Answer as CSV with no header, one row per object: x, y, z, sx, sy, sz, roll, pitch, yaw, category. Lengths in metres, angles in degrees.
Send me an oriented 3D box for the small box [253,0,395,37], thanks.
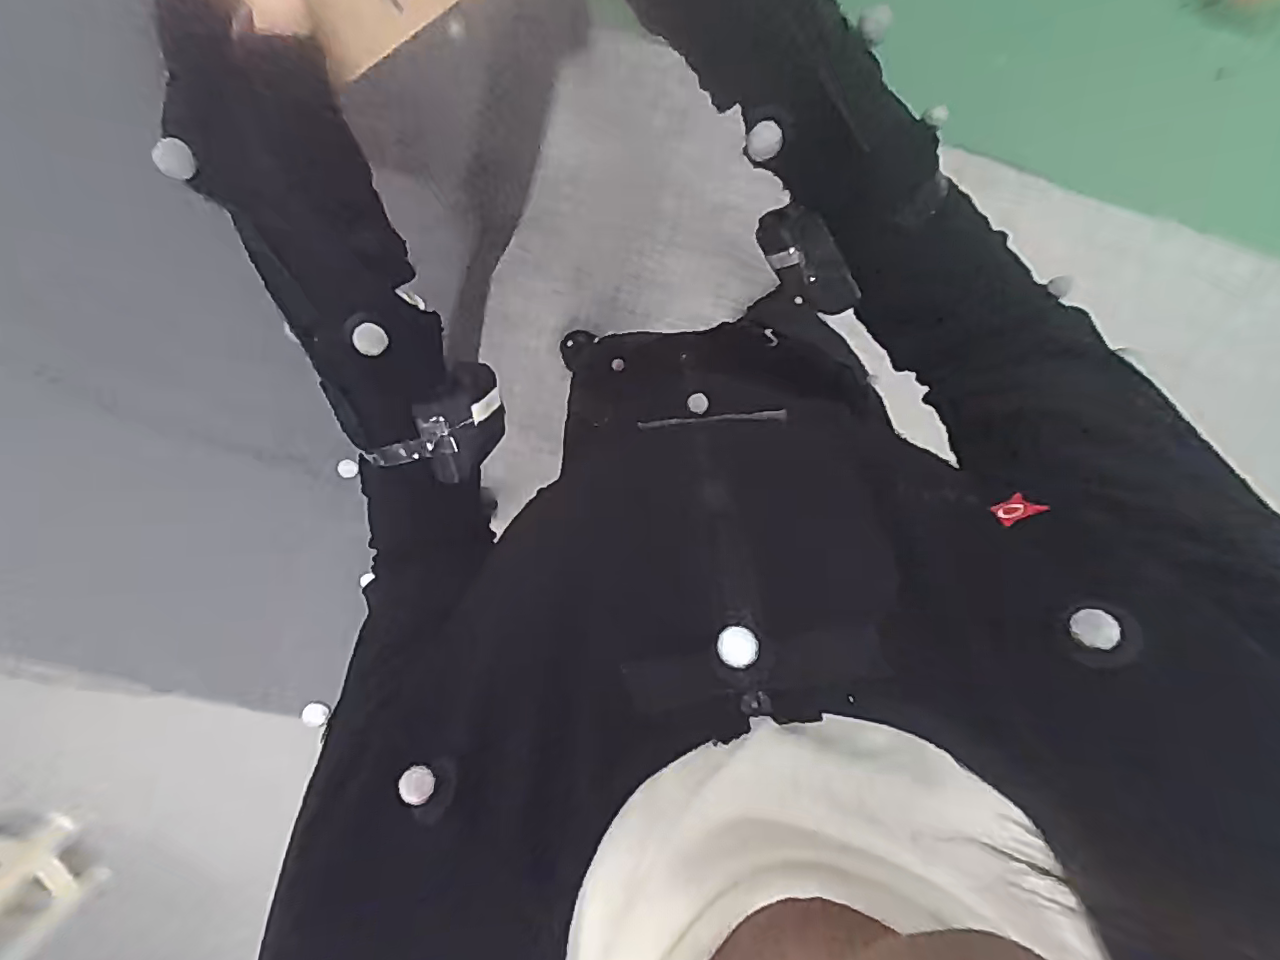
-0.295,-0.481,0.412,0.179,0.176,0.168,16,112,-4,small box
